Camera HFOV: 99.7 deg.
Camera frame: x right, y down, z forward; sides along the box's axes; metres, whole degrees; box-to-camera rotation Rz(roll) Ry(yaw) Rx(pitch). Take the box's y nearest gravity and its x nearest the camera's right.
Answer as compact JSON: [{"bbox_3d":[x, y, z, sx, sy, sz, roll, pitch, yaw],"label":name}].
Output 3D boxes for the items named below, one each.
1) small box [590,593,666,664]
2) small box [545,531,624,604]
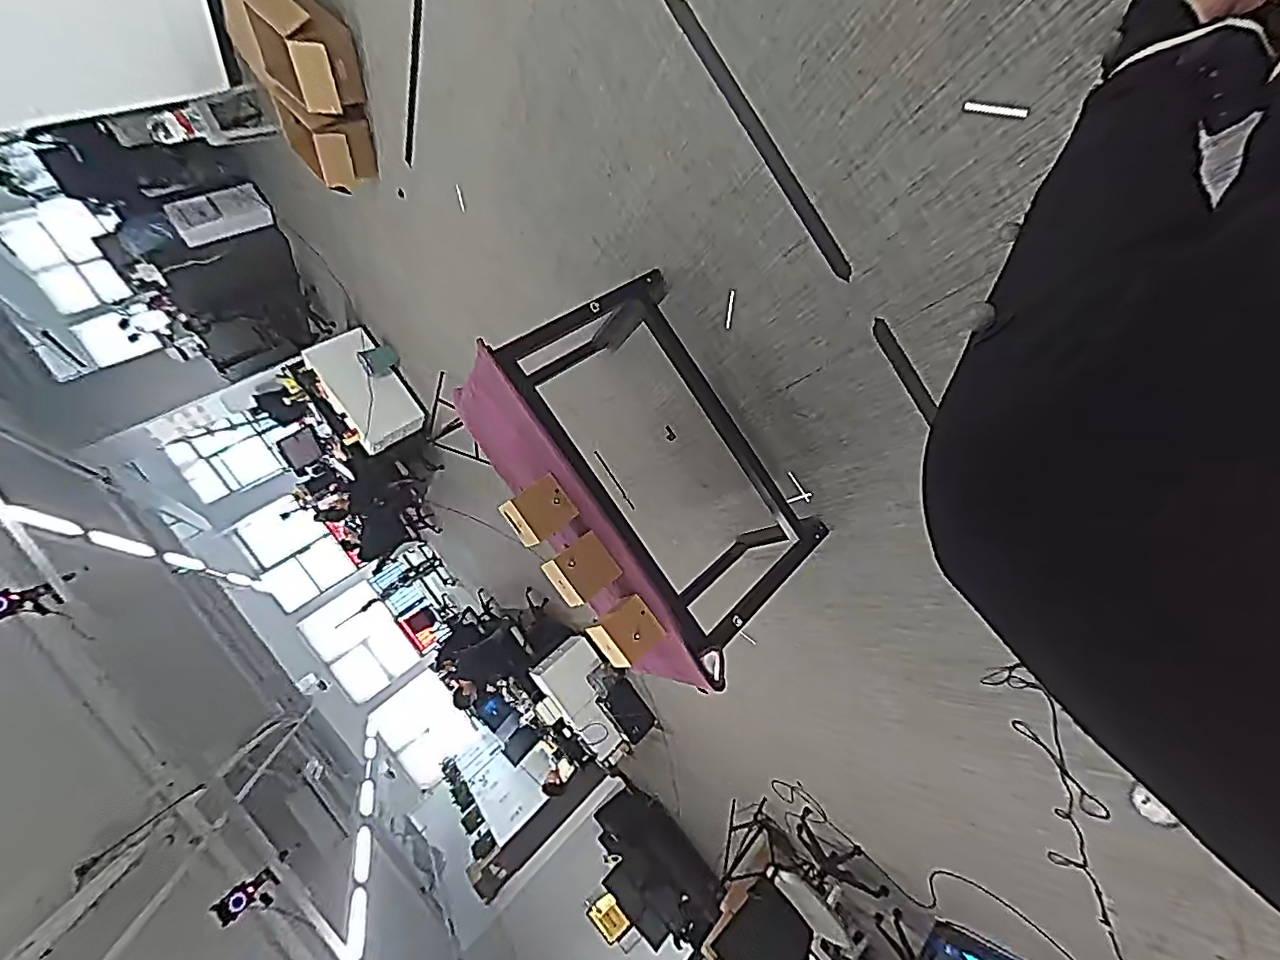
[{"bbox_3d":[-0.036,0.494,1.807,0.168,0.176,0.179,52,152,2],"label":"small box"},{"bbox_3d":[-0.184,0.285,1.790,0.179,0.176,0.168,54,153,0],"label":"small box"}]
